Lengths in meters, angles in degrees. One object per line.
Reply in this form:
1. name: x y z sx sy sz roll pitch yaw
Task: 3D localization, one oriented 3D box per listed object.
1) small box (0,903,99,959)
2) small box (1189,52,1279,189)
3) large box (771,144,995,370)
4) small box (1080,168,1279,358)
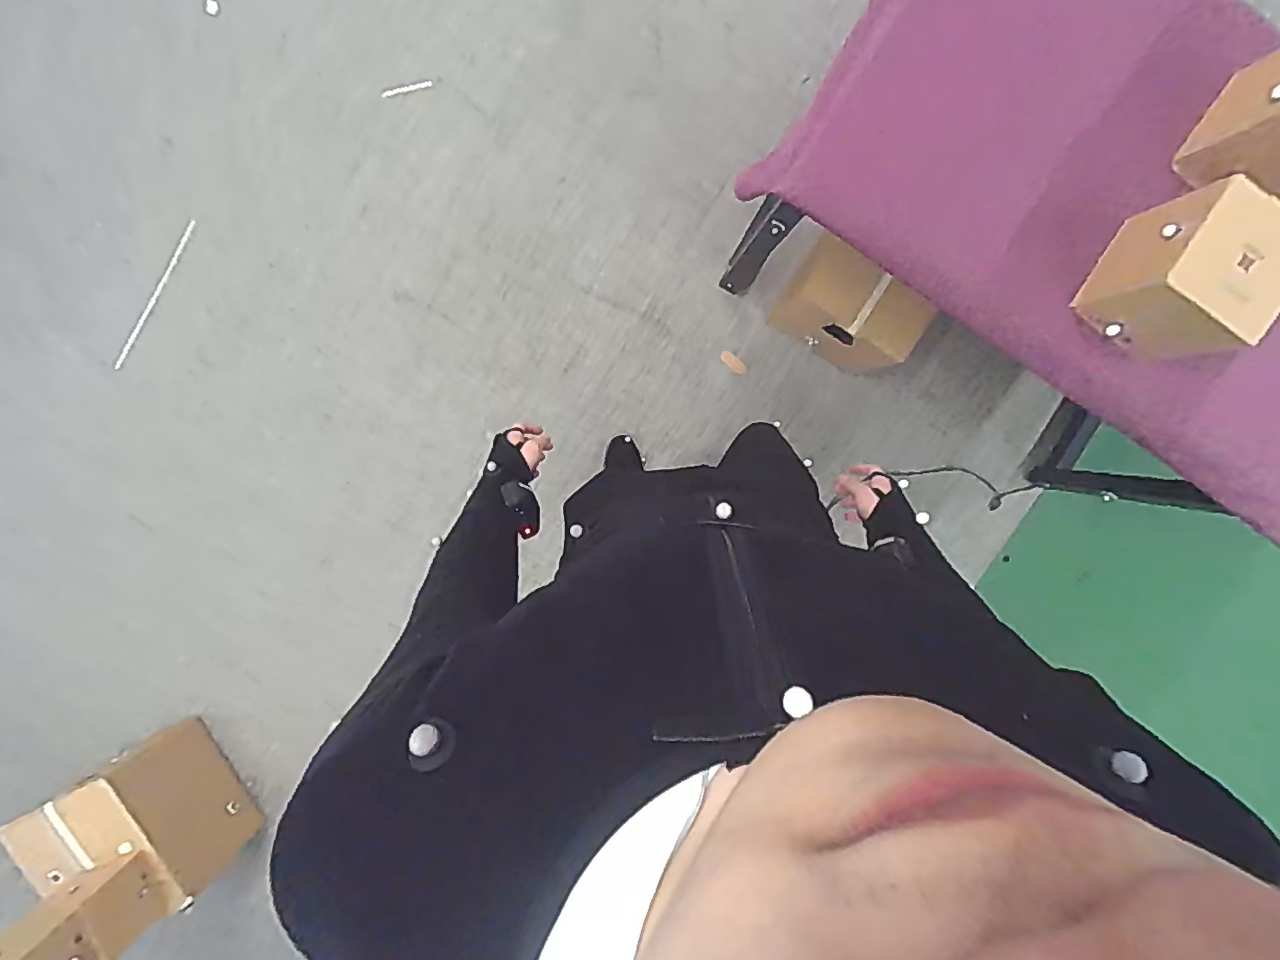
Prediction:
1. small box: -1.315 1.045 1.129 0.179 0.176 0.168 -17 96 -2
2. small box: 0.981 -0.529 0.785 0.168 0.176 0.179 34 95 -6
3. large box: 0.611 -0.553 1.433 0.320 0.320 0.408 32 93 -6
4. small box: 0.822 -0.305 0.802 0.168 0.176 0.179 34 93 -5
